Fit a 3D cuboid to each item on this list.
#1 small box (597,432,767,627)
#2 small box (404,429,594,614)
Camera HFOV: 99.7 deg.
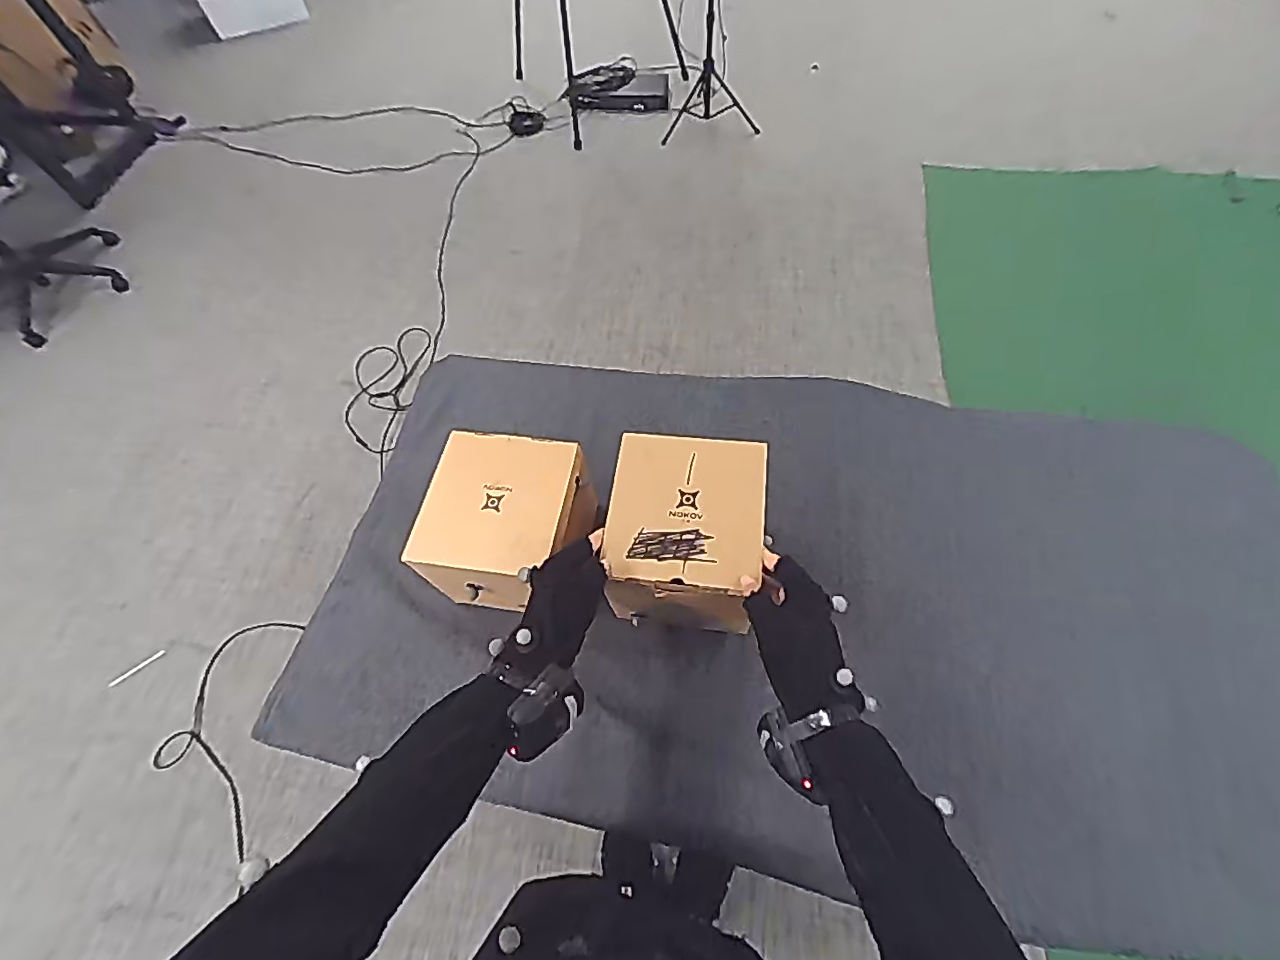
[{"bbox_3d":[0.057,0.065,0.640,0.168,0.176,0.179,5,62,9],"label":"small box"},{"bbox_3d":[-0.160,0.059,0.688,0.168,0.176,0.179,6,61,8],"label":"small box"}]
